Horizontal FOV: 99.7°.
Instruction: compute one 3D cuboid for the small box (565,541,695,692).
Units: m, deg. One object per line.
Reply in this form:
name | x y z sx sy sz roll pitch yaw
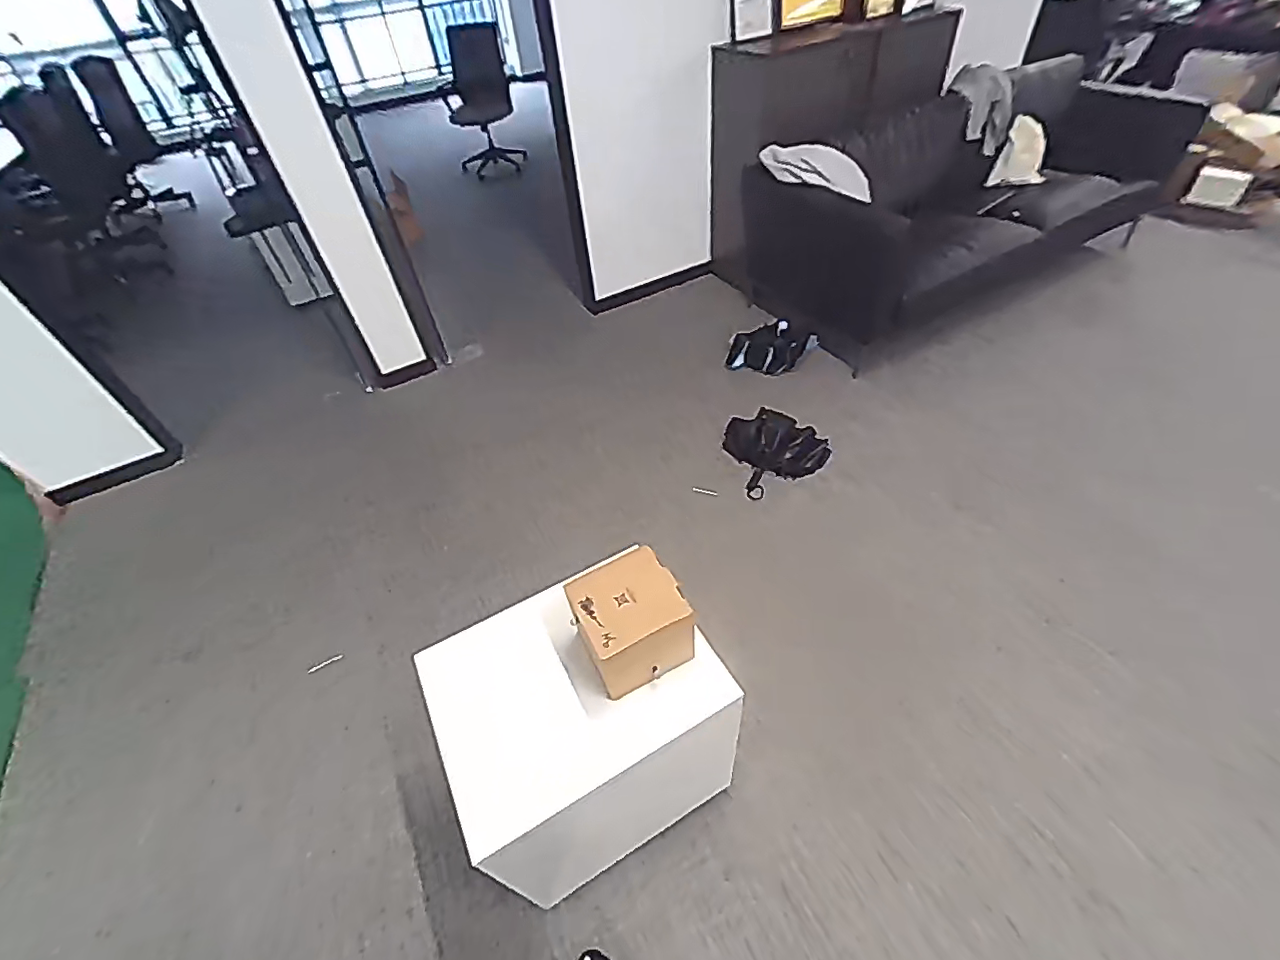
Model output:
small box | -0.018 0.248 0.979 0.179 0.176 0.168 -23 49 -16
